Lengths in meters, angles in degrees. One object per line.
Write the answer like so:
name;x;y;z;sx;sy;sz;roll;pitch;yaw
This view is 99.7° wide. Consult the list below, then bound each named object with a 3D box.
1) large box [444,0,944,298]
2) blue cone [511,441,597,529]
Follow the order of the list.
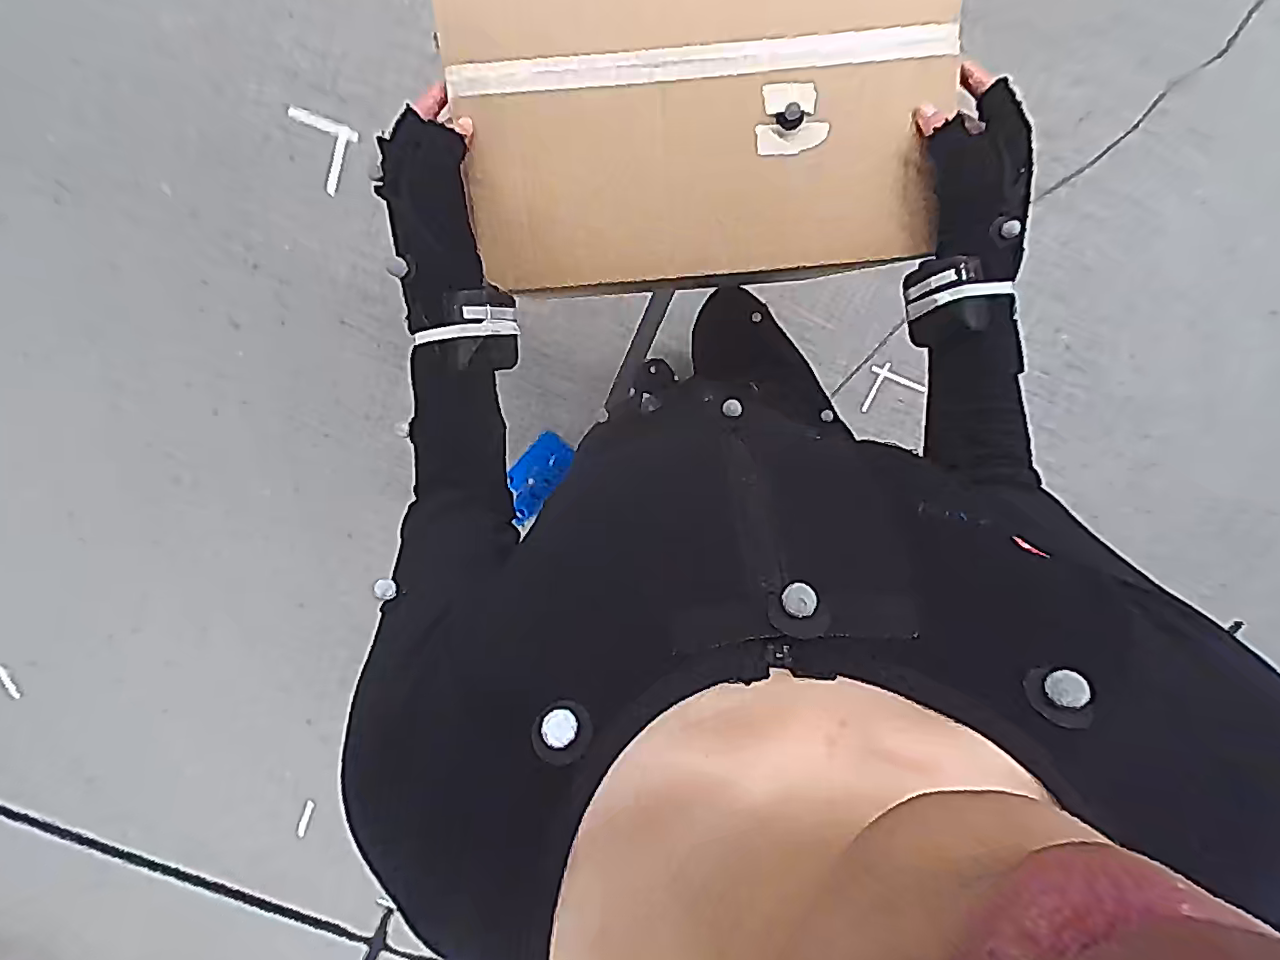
large box;0.041;-0.382;0.582;0.408;0.320;0.320;-5;107;-1
blue cone;-0.246;0.041;1.347;0.193;0.380;0.192;44;102;-7
